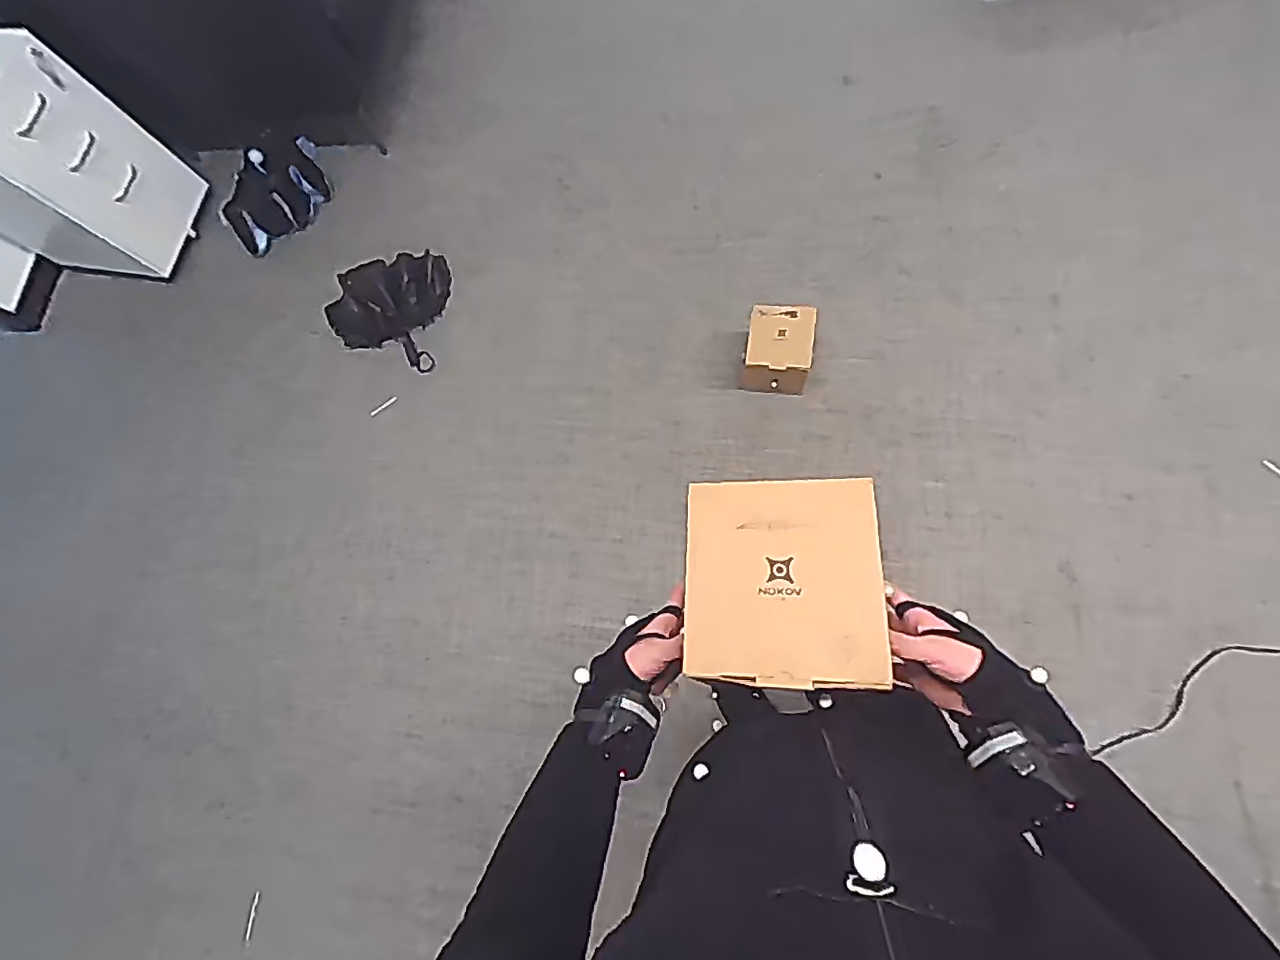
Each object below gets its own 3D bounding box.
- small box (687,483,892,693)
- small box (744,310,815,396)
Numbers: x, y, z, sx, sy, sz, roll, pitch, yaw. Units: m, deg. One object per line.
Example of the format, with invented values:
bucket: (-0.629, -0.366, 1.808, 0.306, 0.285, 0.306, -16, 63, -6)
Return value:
small box: (0.141, 0.115, 0.542, 0.168, 0.176, 0.179, -2, 66, 12)
small box: (0.377, -0.342, 1.482, 0.168, 0.176, 0.179, 7, 78, 11)
